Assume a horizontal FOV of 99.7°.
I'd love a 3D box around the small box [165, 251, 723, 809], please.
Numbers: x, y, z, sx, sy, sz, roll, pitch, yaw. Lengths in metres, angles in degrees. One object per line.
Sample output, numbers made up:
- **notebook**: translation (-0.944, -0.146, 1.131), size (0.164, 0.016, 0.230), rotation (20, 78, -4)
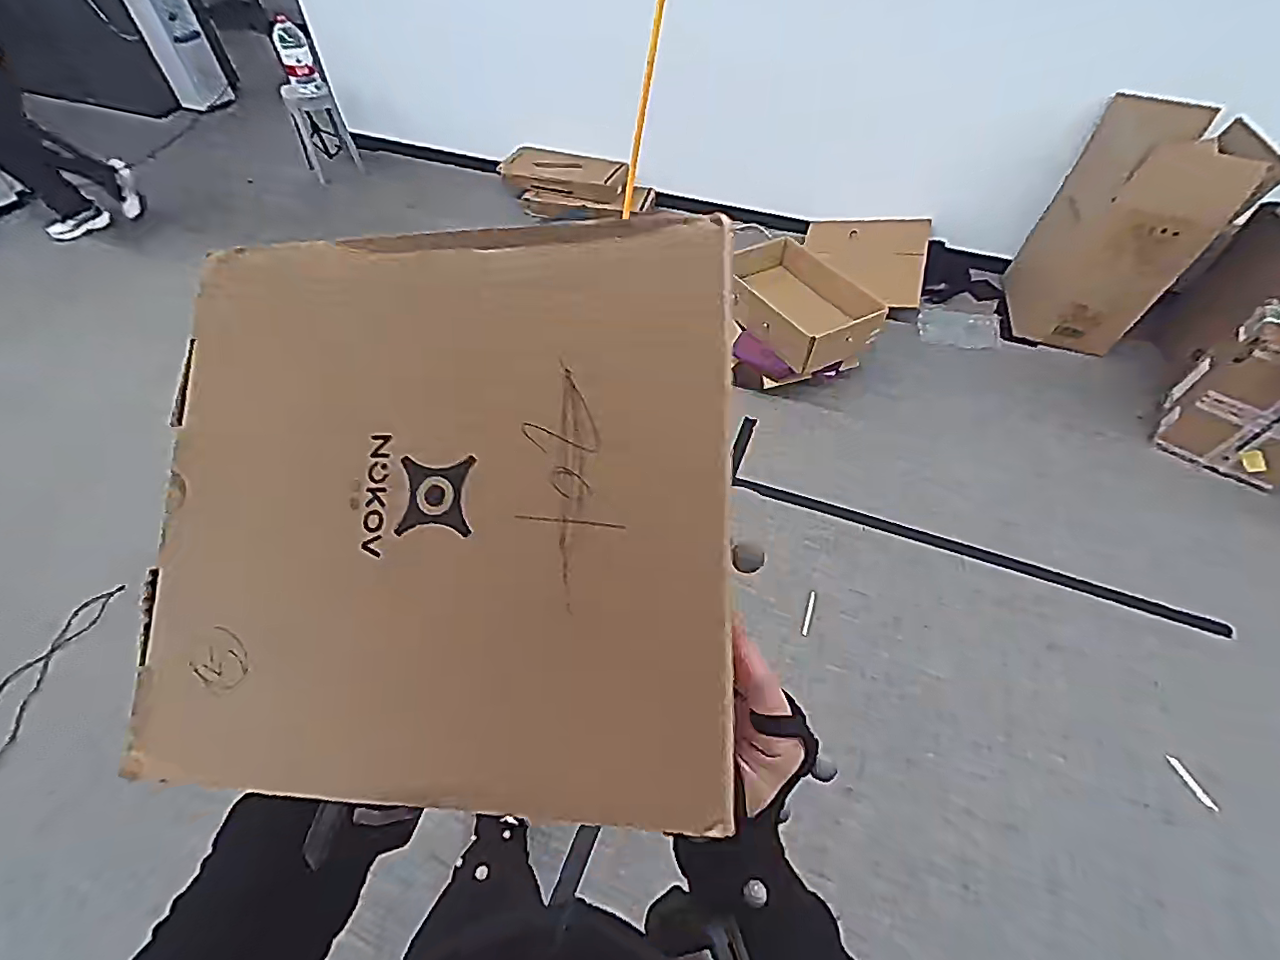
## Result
- **small box**: translation (-0.052, 0.021, 0.249), size (0.179, 0.176, 0.168), rotation (-1, 81, 8)
